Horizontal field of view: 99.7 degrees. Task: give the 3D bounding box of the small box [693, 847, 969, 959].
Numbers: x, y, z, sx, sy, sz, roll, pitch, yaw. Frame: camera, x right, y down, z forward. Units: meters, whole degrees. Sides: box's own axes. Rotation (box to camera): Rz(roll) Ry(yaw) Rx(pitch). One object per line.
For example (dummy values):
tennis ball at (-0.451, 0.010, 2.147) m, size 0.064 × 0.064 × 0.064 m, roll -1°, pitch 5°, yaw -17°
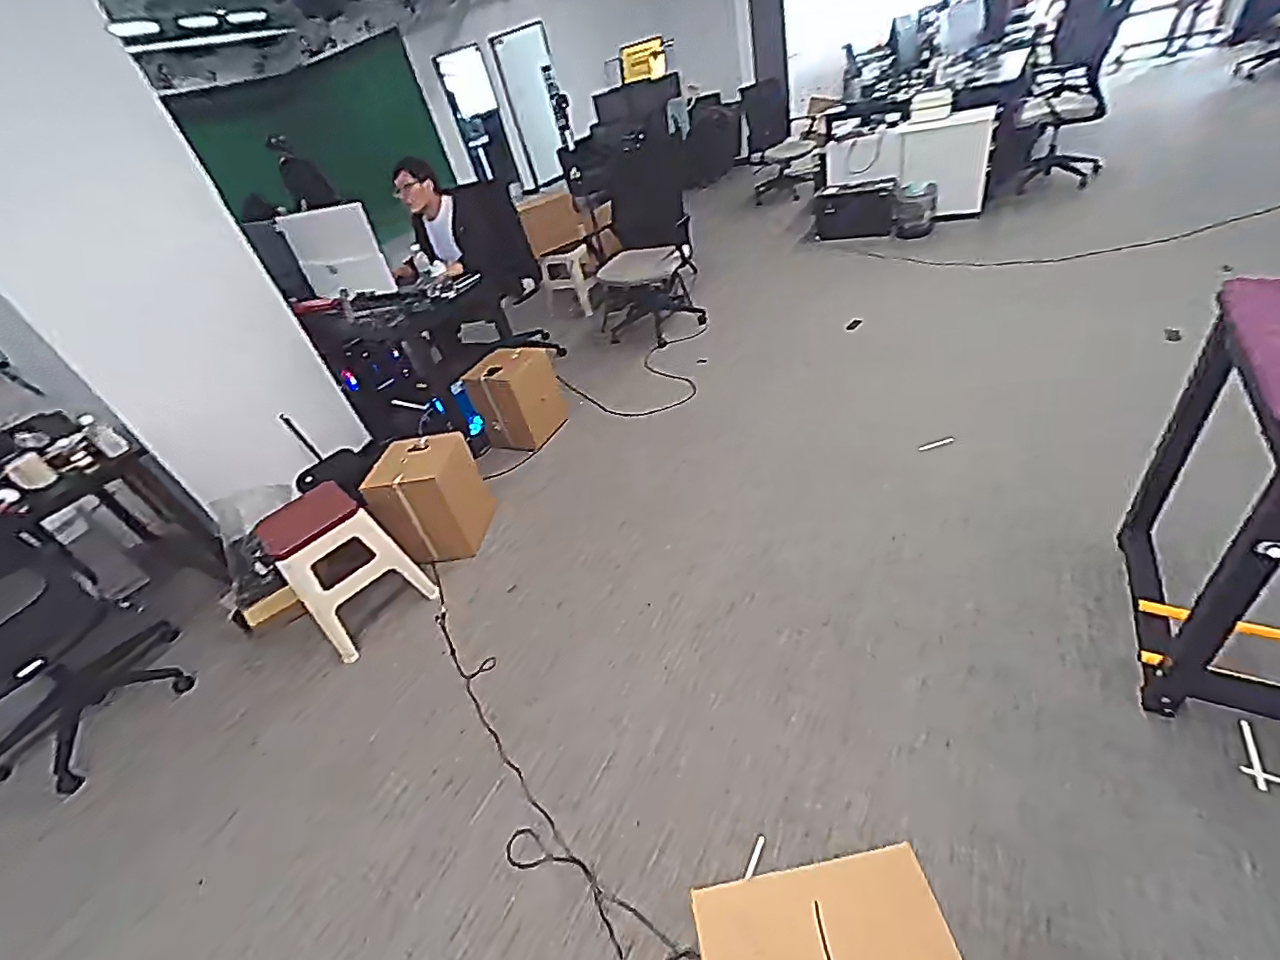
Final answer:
small box at (0.138, 0.388, 0.371) m, size 0.168 × 0.176 × 0.179 m, roll -10°, pitch 42°, yaw -2°
